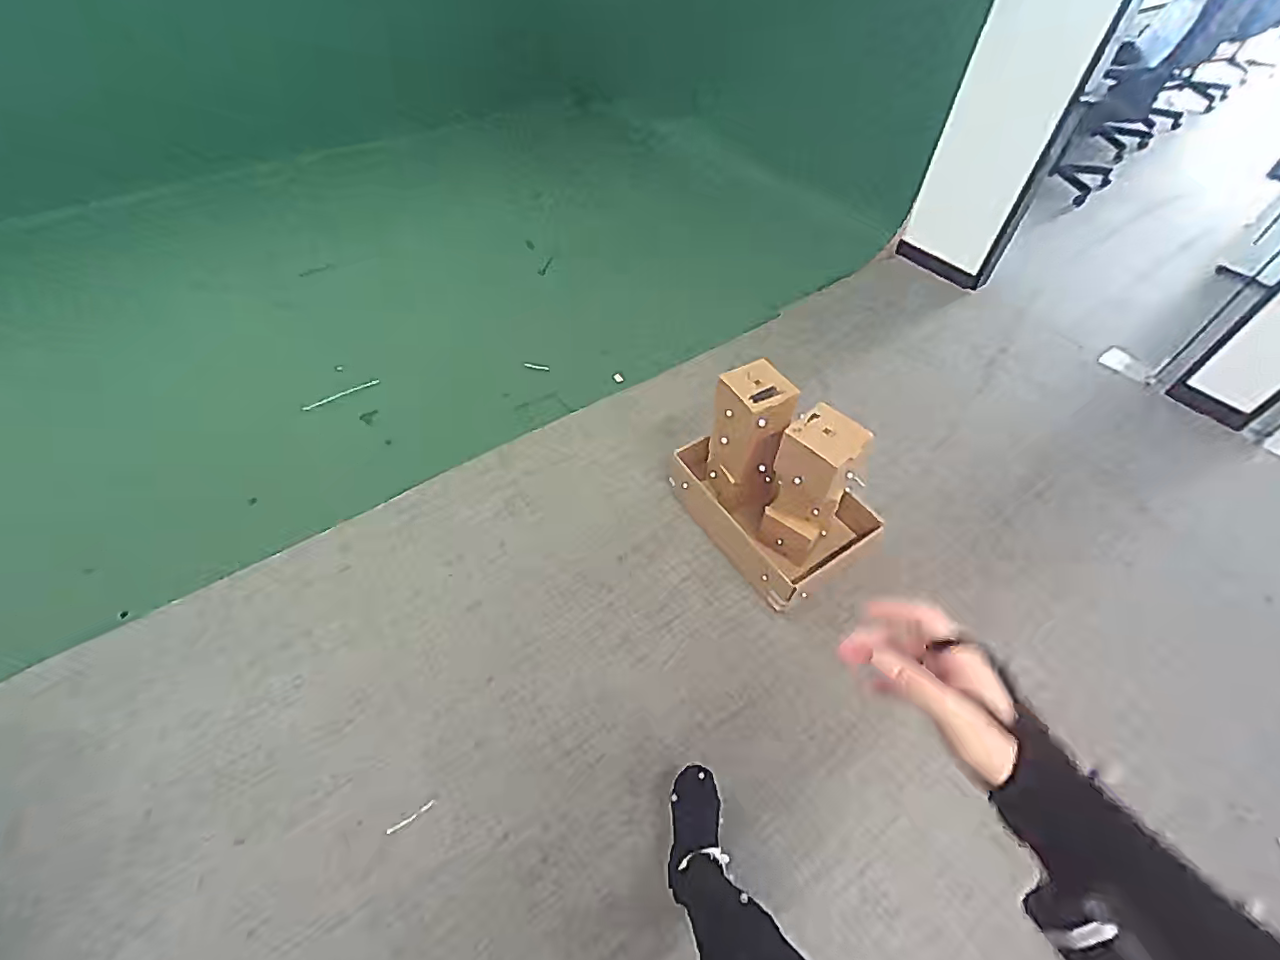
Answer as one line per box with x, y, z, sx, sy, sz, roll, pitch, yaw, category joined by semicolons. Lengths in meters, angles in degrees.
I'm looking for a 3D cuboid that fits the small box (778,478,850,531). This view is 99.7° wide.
0.528;0.021;1.620;0.168;0.176;0.179;24;55;18;small box

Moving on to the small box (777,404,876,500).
0.504;-0.068;1.483;0.168;0.176;0.179;-34;60;-23;small box

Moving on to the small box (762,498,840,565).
0.508;0.141;1.733;0.168;0.176;0.179;34;59;24;small box

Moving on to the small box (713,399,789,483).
0.350;-0.122;1.731;0.168;0.176;0.179;-24;58;-18;small box
